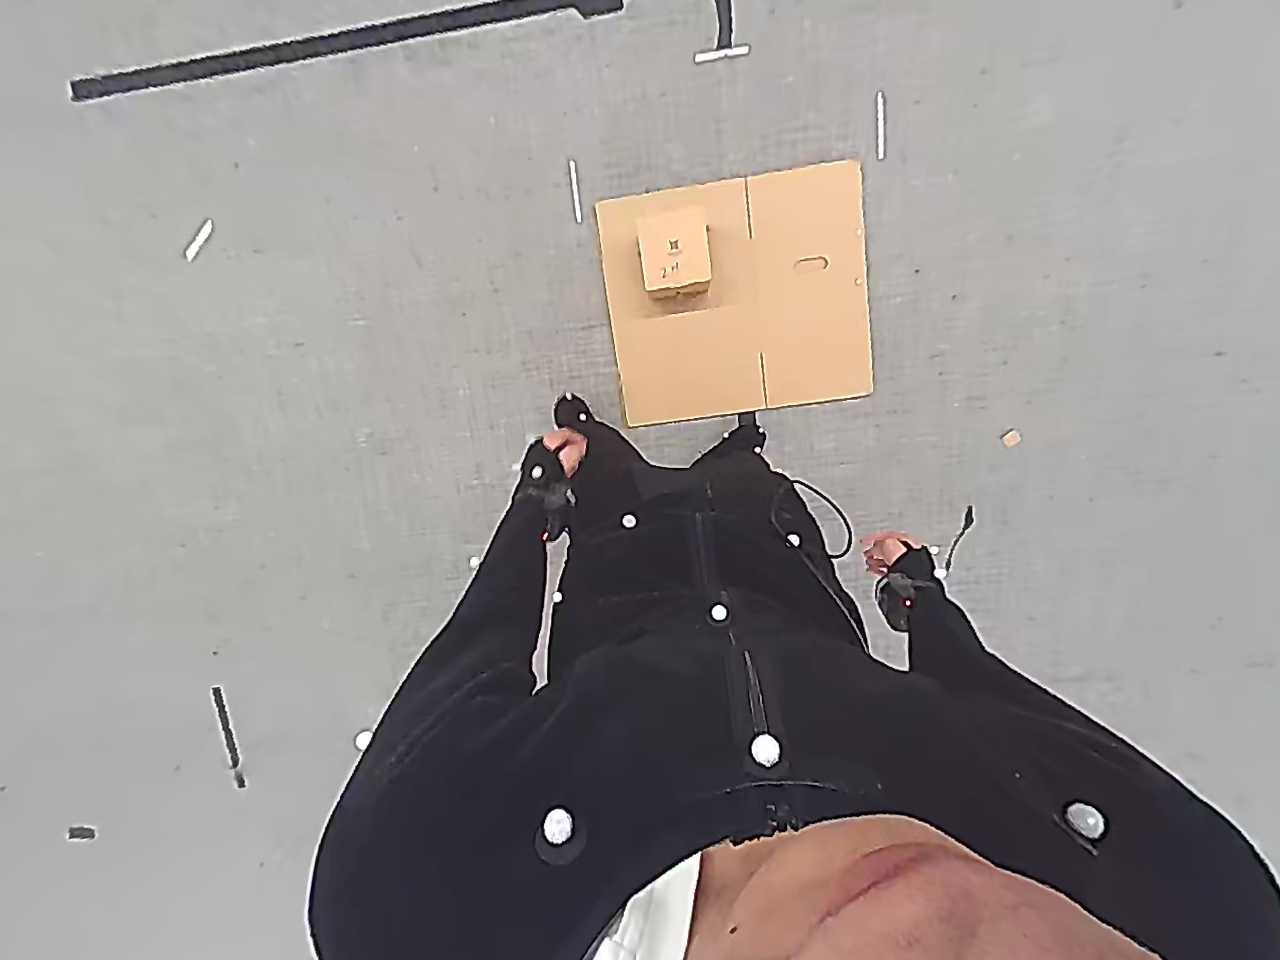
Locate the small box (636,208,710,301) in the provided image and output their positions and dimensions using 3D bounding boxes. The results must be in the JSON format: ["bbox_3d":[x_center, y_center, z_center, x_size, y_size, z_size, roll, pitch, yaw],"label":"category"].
[{"bbox_3d":[0.084,-0.569,1.381,0.168,0.176,0.179,-7,101,6],"label":"small box"}]
